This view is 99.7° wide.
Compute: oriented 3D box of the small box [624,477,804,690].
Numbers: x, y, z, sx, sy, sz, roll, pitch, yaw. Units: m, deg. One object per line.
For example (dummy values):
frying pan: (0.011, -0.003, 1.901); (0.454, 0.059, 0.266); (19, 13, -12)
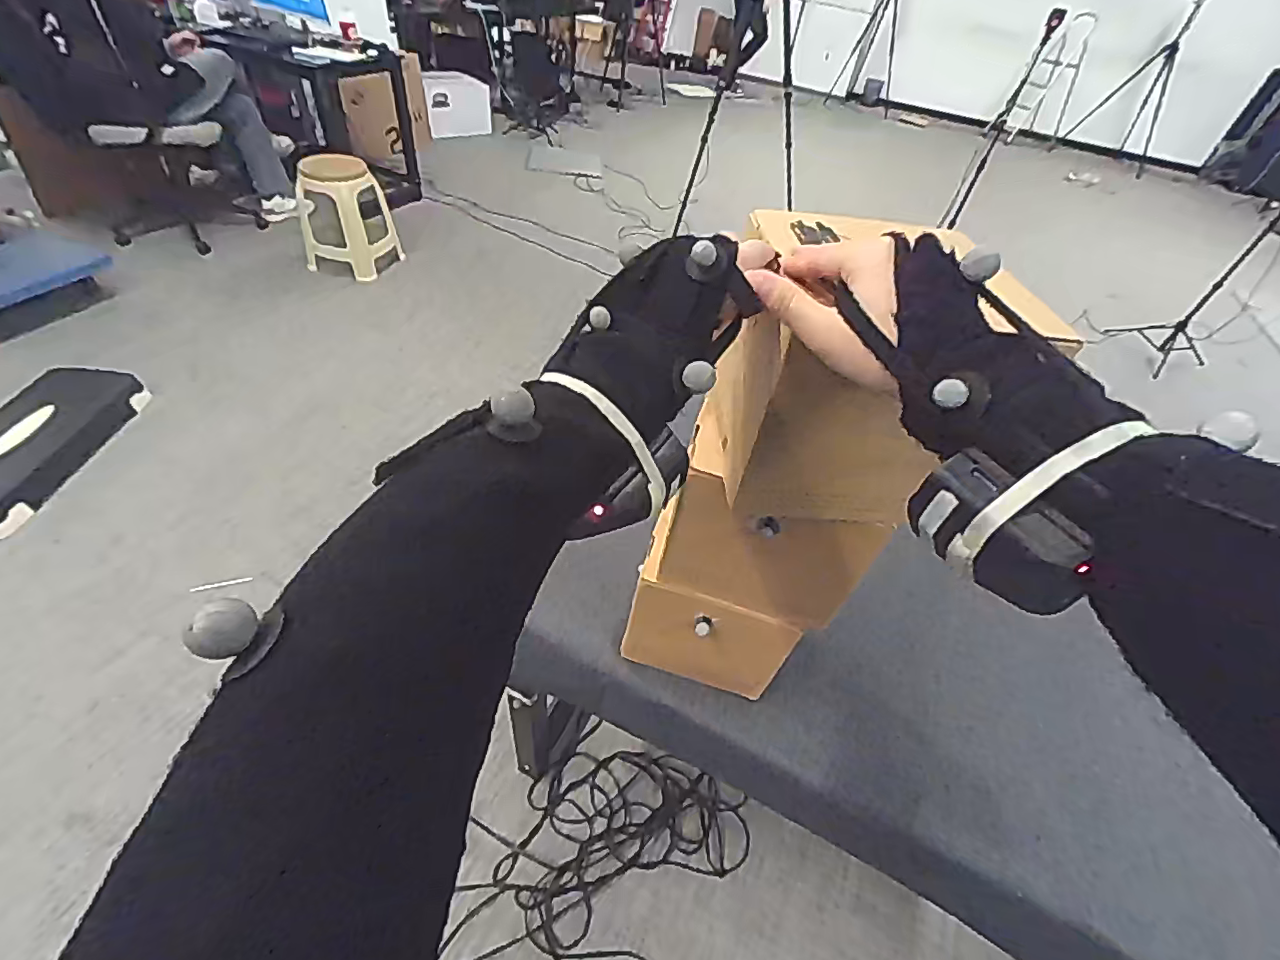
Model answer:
small box: (0.091, 0.129, 0.654); (0.179, 0.176, 0.168); (16, 44, 7)

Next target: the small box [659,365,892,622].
small box: (0.128, 0.016, 0.543); (0.179, 0.176, 0.168); (17, 46, 7)
